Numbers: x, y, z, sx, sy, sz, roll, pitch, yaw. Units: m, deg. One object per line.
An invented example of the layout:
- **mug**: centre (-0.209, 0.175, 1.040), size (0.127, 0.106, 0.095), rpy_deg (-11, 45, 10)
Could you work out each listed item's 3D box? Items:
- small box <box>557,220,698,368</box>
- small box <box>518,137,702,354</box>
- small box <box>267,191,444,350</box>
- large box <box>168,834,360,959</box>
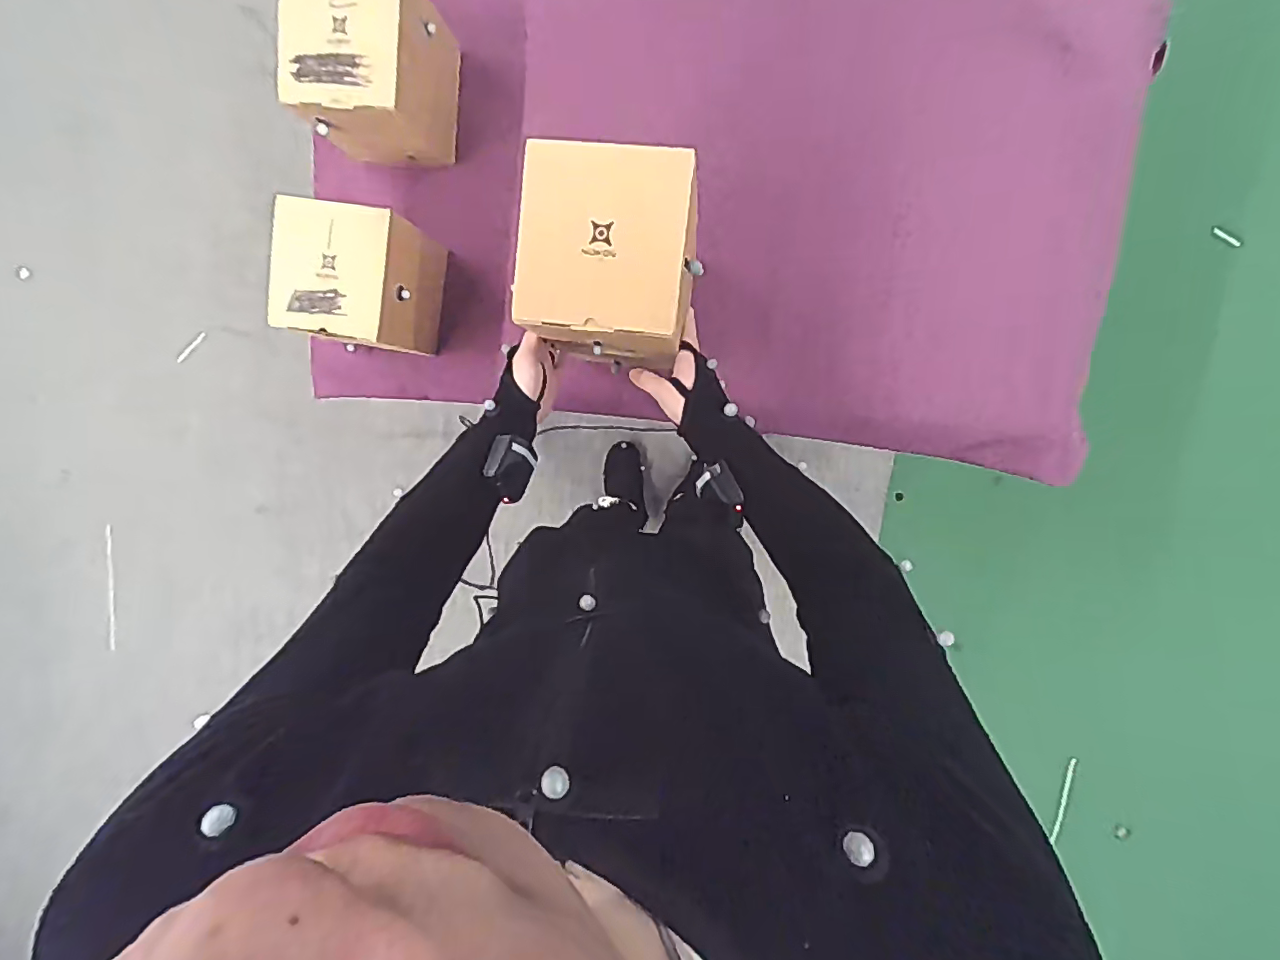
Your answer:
- **small box**: centre (-0.012, -0.260, 0.763), size (0.168, 0.176, 0.179), rpy_deg (7, 98, 4)
- **small box**: centre (-0.026, -0.244, 0.602), size (0.168, 0.176, 0.179), rpy_deg (7, 99, 4)
- **small box**: centre (-0.409, -0.296, 0.802), size (0.168, 0.176, 0.179), rpy_deg (10, 97, 5)
- **large box**: centre (-1.271, 1.524, 1.842), size (0.408, 0.320, 0.320), rpy_deg (31, 101, 0)
